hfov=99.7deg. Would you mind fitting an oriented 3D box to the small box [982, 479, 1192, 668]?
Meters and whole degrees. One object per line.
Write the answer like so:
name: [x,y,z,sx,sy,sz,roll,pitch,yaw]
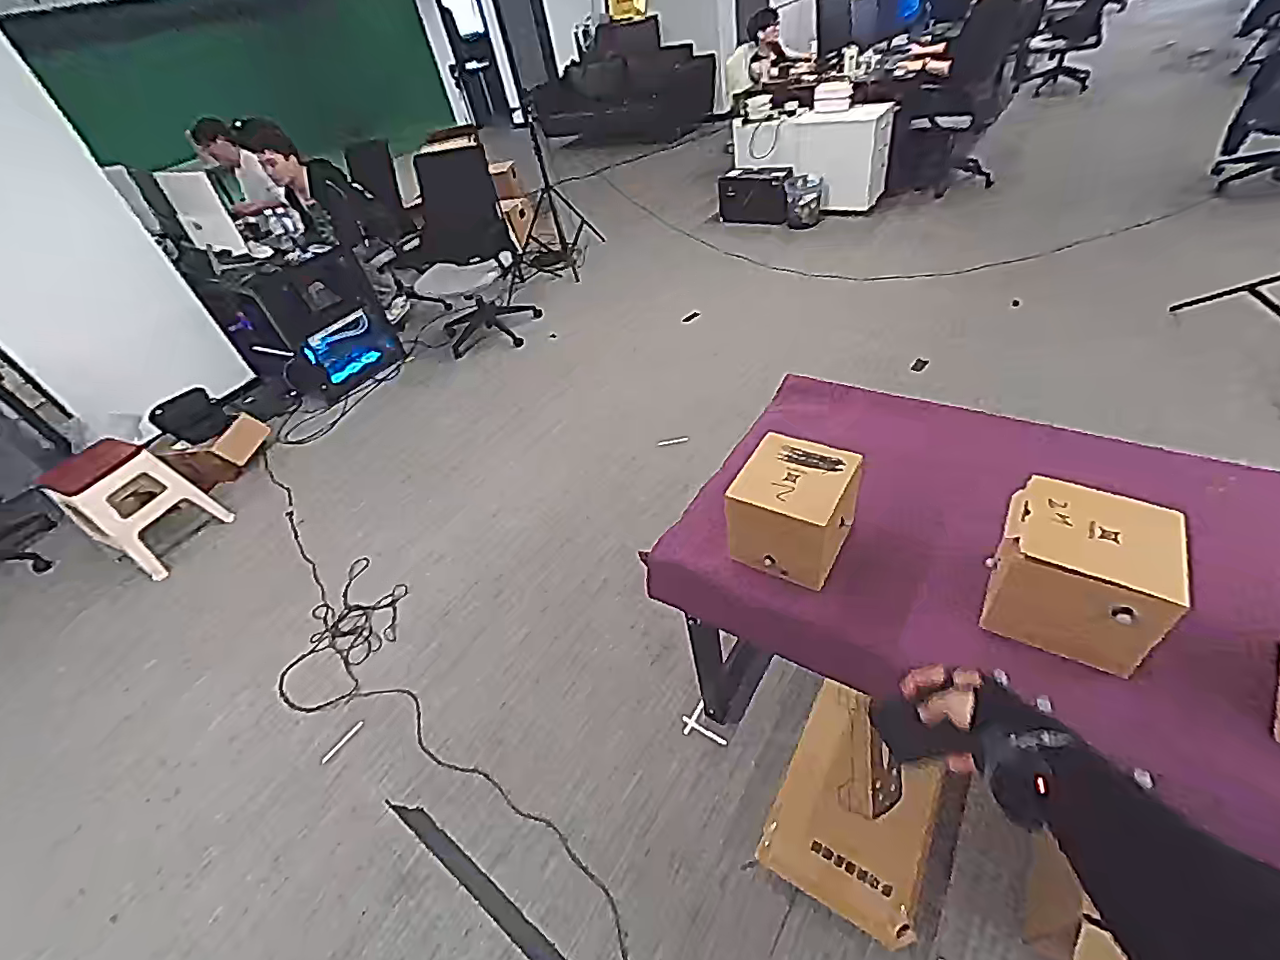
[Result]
small box: [0.606,0.130,0.749,0.179,0.176,0.168,18,48,30]
